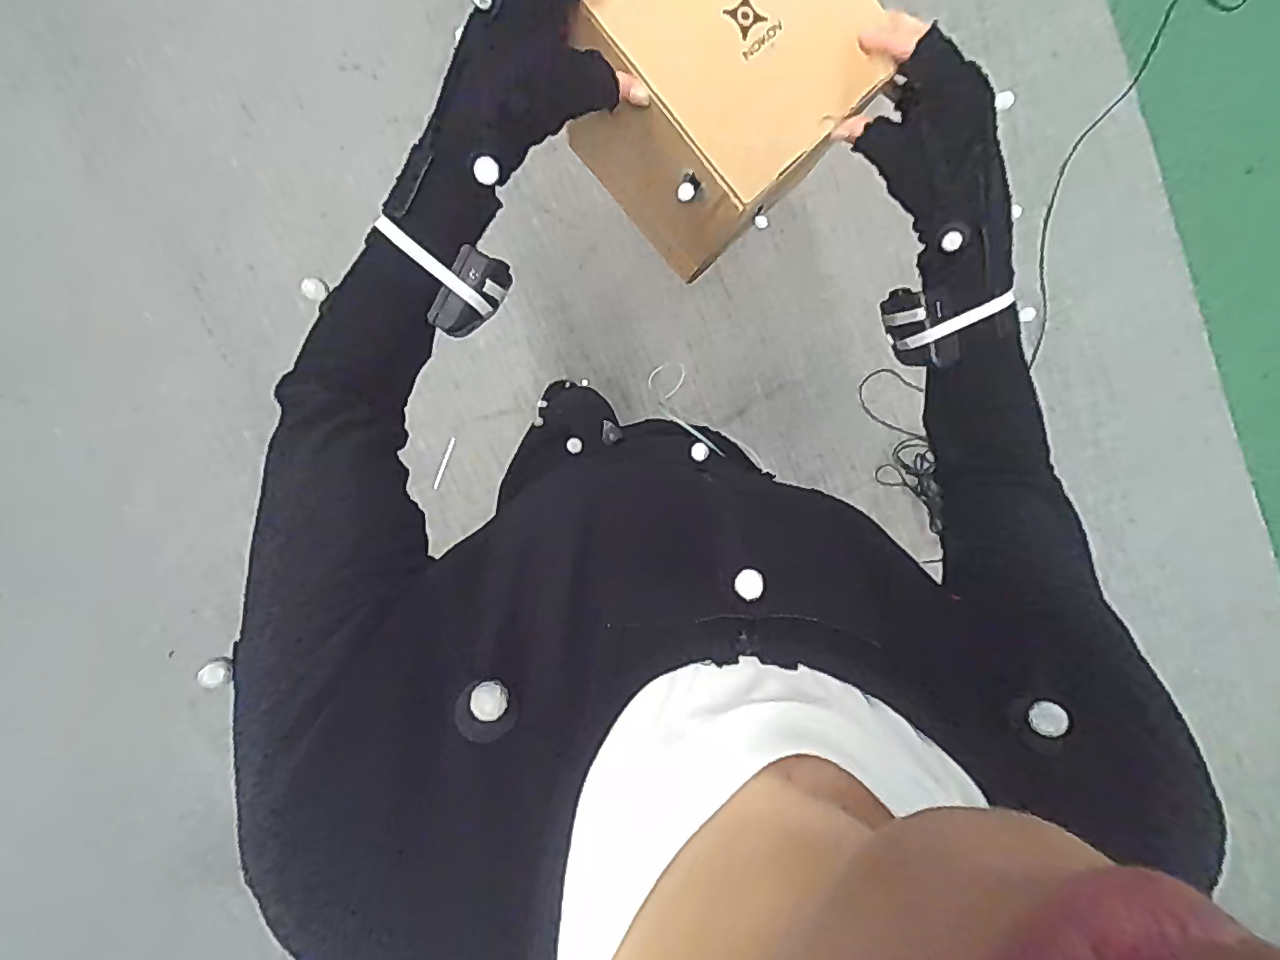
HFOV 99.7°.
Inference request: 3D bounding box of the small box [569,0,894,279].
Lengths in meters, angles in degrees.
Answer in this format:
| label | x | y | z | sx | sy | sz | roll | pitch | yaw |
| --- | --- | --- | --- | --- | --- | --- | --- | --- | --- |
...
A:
| label | x | y | z | sx | sy | sz | roll | pitch | yaw |
| --- | --- | --- | --- | --- | --- | --- | --- | --- | --- |
| small box | 0.056 | -0.303 | 0.449 | 0.168 | 0.176 | 0.179 | -43 | 99 | -6 |
